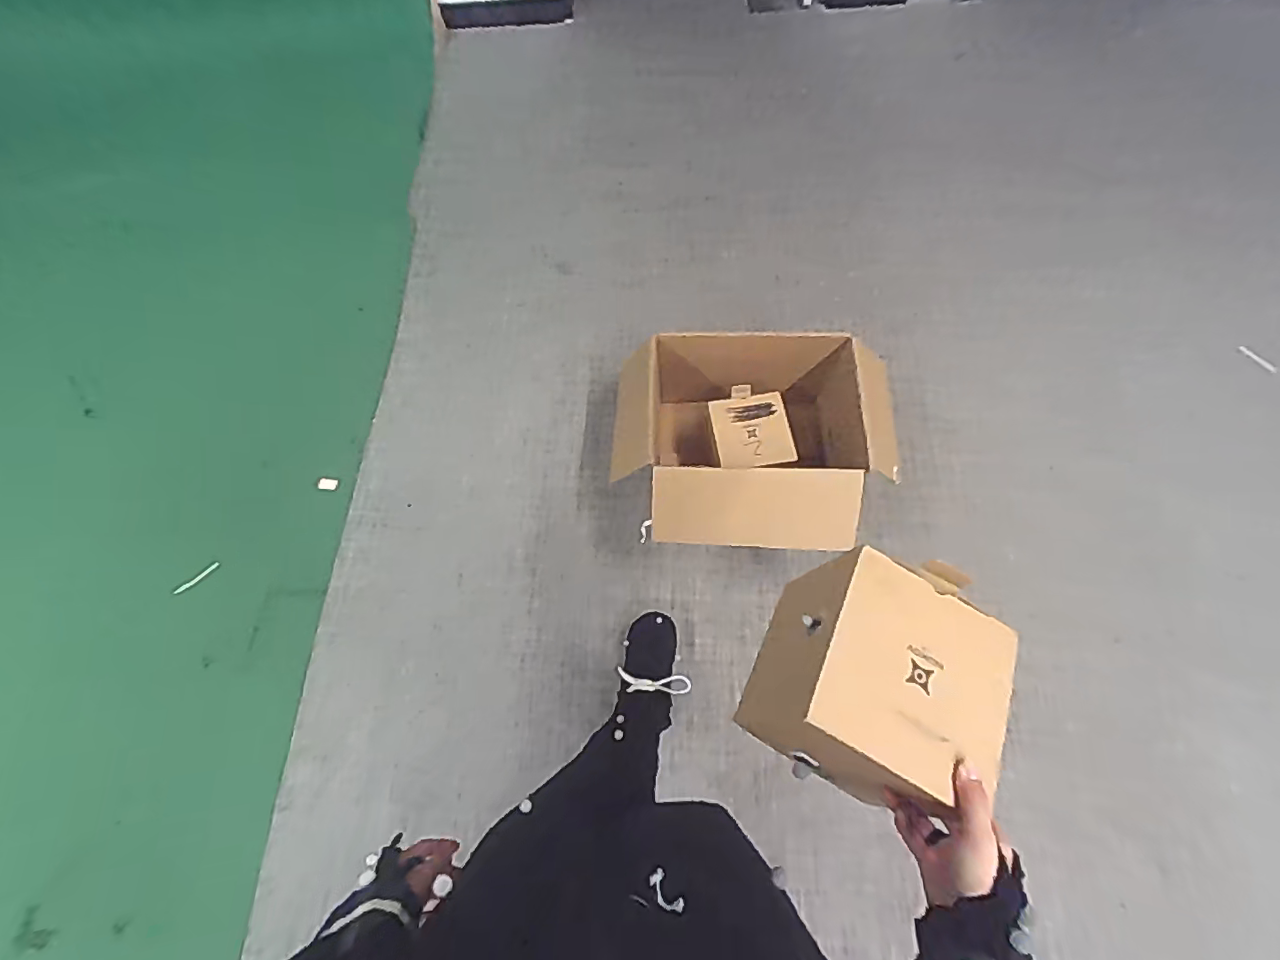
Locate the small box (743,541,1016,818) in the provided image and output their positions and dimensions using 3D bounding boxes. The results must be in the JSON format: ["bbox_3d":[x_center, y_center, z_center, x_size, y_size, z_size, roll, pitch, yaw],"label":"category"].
[{"bbox_3d":[0.224,0.194,0.536,0.168,0.176,0.179,30,61,2],"label":"small box"}]
